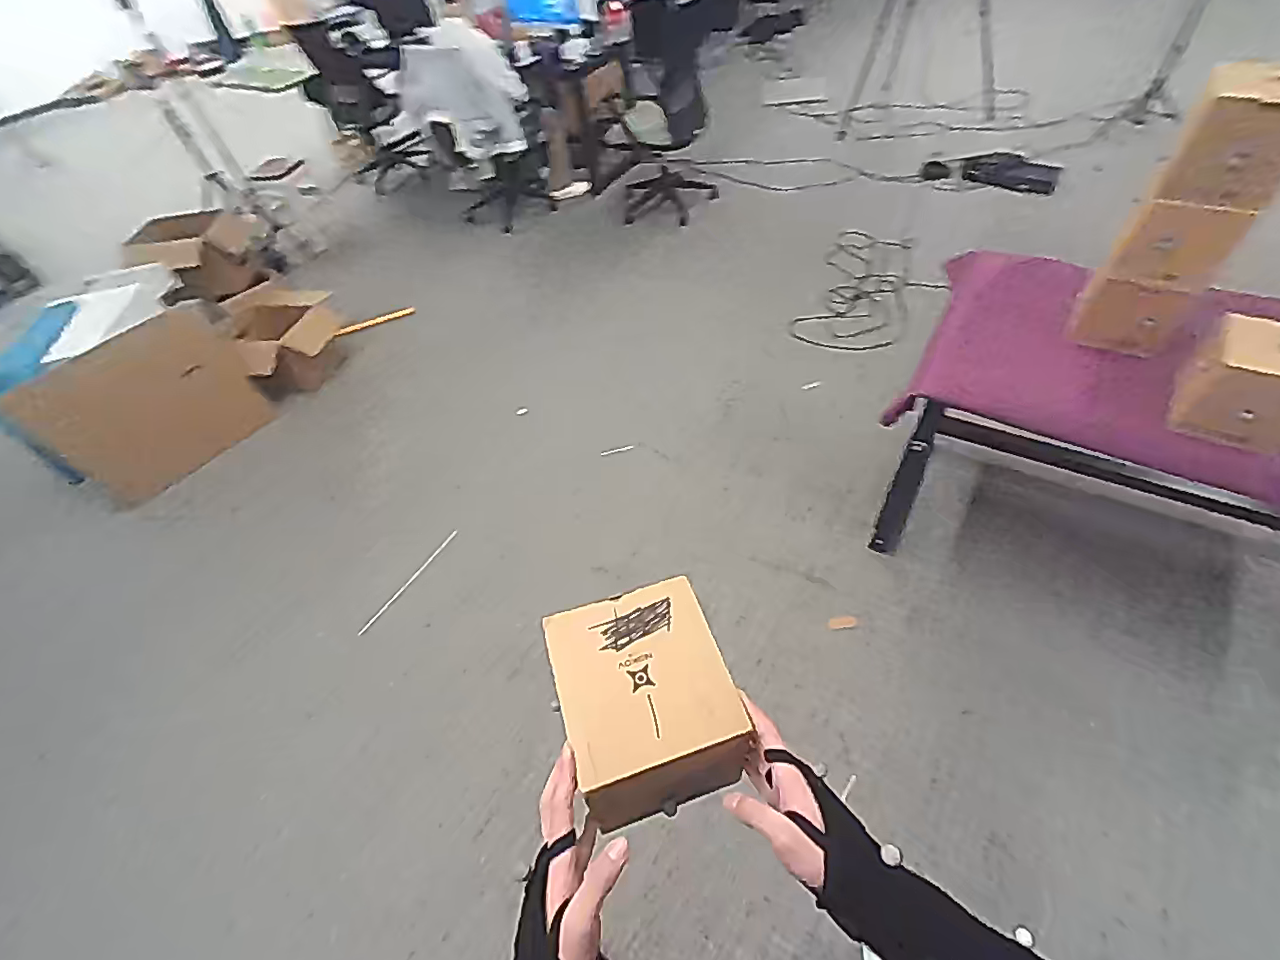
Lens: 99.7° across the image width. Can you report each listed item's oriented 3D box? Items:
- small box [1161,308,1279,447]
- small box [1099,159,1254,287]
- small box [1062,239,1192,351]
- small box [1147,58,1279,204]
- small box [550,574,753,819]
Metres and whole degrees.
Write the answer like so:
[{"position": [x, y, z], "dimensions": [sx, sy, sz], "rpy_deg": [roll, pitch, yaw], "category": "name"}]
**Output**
[{"position": [1.138, -0.190, 1.020], "dimensions": [0.168, 0.176, 0.179], "rpy_deg": [24, 58, 24], "category": "small box"}, {"position": [1.067, -0.514, 1.086], "dimensions": [0.168, 0.176, 0.179], "rpy_deg": [23, 58, 24], "category": "small box"}, {"position": [1.090, -0.417, 1.214], "dimensions": [0.168, 0.176, 0.179], "rpy_deg": [24, 59, 24], "category": "small box"}, {"position": [1.052, -0.618, 0.961], "dimensions": [0.168, 0.176, 0.179], "rpy_deg": [23, 59, 23], "category": "small box"}, {"position": [0.007, 0.238, 0.596], "dimensions": [0.168, 0.176, 0.179], "rpy_deg": [-15, 48, -9], "category": "small box"}]
